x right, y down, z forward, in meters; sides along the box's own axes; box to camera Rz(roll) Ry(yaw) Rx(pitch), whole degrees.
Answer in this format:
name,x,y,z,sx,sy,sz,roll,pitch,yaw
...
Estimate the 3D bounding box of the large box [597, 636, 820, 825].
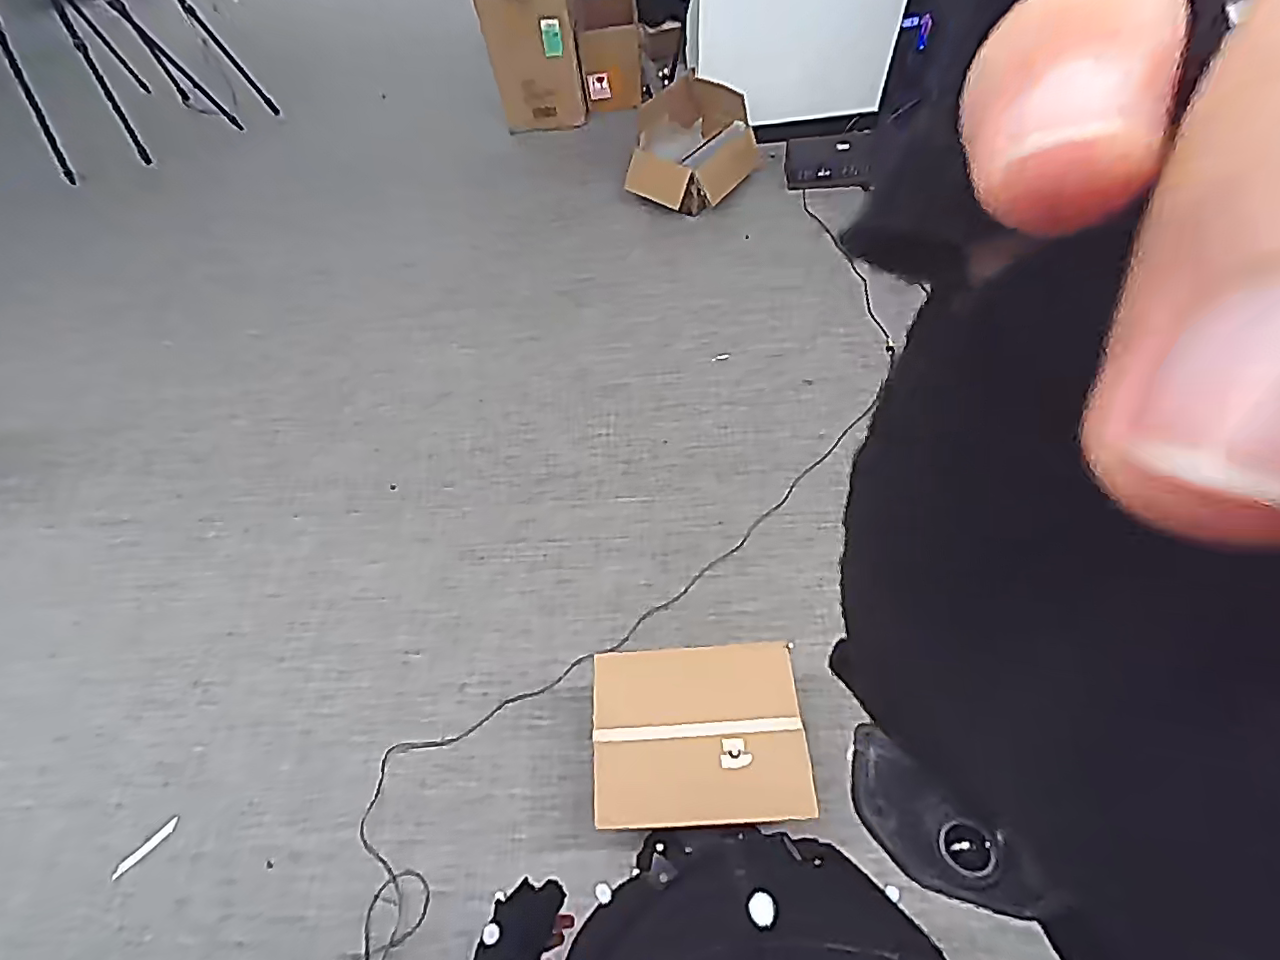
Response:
name,x,y,z,sx,sy,sz,roll,pitch,yaw
large box,0.125,0.546,1.169,0.408,0.320,0.320,-4,60,2
